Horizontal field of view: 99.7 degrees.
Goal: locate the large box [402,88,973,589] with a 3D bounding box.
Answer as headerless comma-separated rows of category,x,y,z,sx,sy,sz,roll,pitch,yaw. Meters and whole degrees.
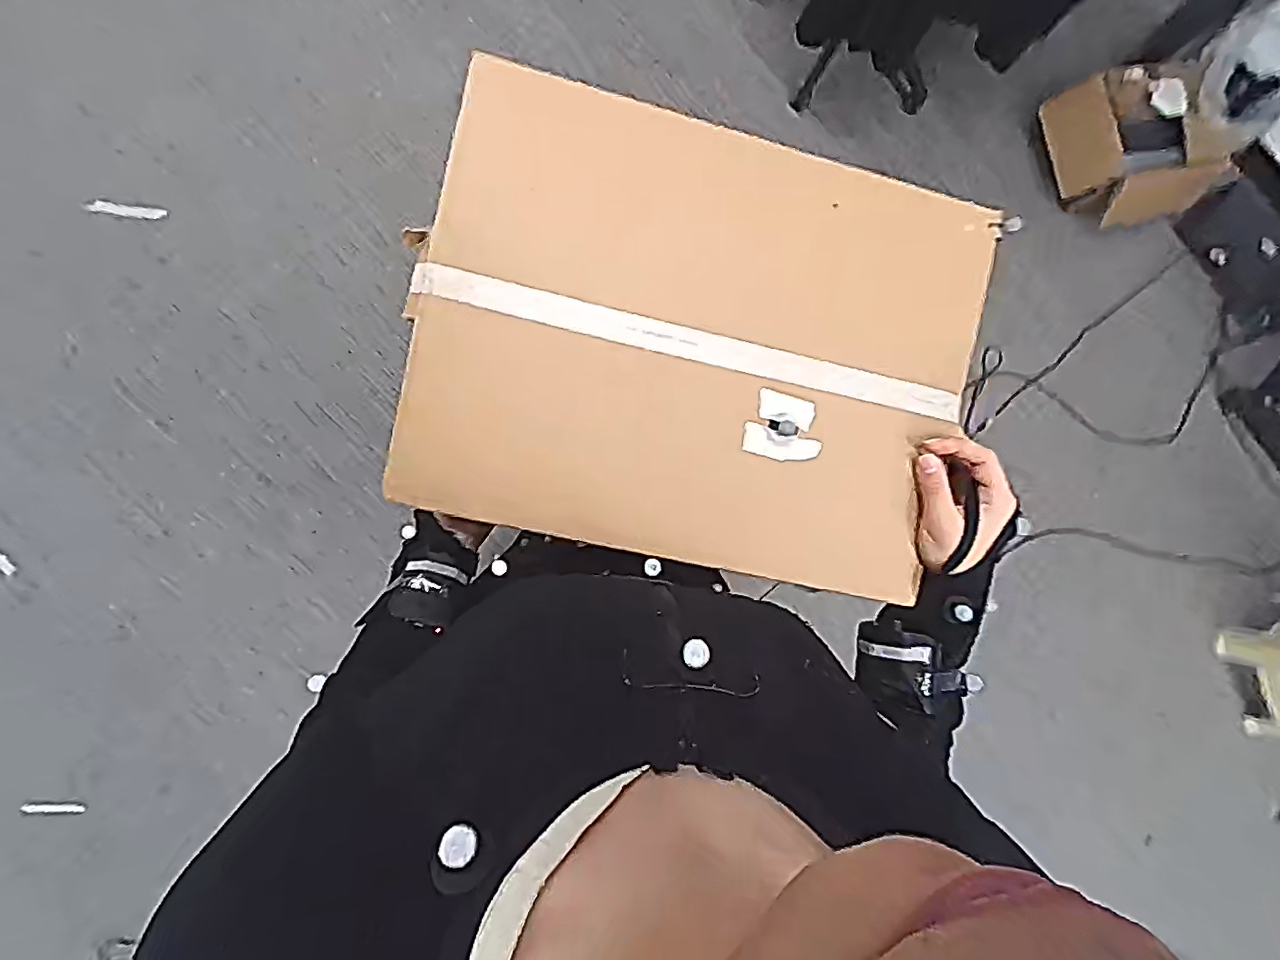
large box,0.027,-0.098,0.552,0.408,0.320,0.320,11,91,-8
